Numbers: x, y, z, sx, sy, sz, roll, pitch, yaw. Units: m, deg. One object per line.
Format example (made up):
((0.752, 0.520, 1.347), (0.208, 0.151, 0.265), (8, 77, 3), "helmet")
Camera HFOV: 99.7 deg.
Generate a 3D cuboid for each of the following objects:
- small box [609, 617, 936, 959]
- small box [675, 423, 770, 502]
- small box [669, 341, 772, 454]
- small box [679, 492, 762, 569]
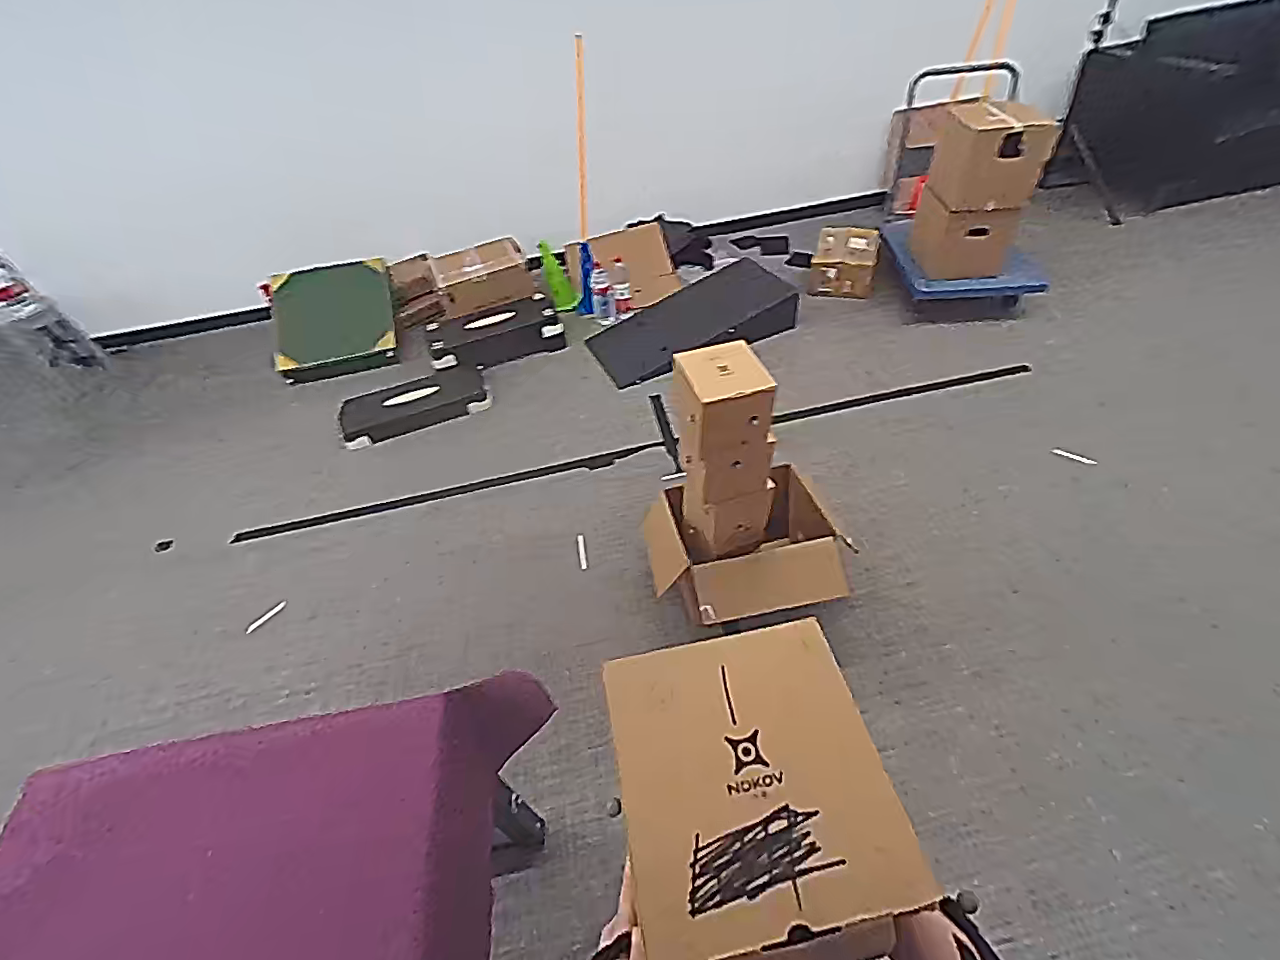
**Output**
((0.075, 0.231, 0.405), (0.168, 0.176, 0.179), (-9, 49, -5), "small box")
((0.193, -0.069, 1.312), (0.179, 0.176, 0.168), (-15, 50, -11), "small box")
((0.169, -0.174, 1.187), (0.168, 0.176, 0.179), (-14, 49, -10), "small box")
((0.231, 0.128, 1.574), (0.179, 0.176, 0.168), (-26, 51, -20), "small box")
